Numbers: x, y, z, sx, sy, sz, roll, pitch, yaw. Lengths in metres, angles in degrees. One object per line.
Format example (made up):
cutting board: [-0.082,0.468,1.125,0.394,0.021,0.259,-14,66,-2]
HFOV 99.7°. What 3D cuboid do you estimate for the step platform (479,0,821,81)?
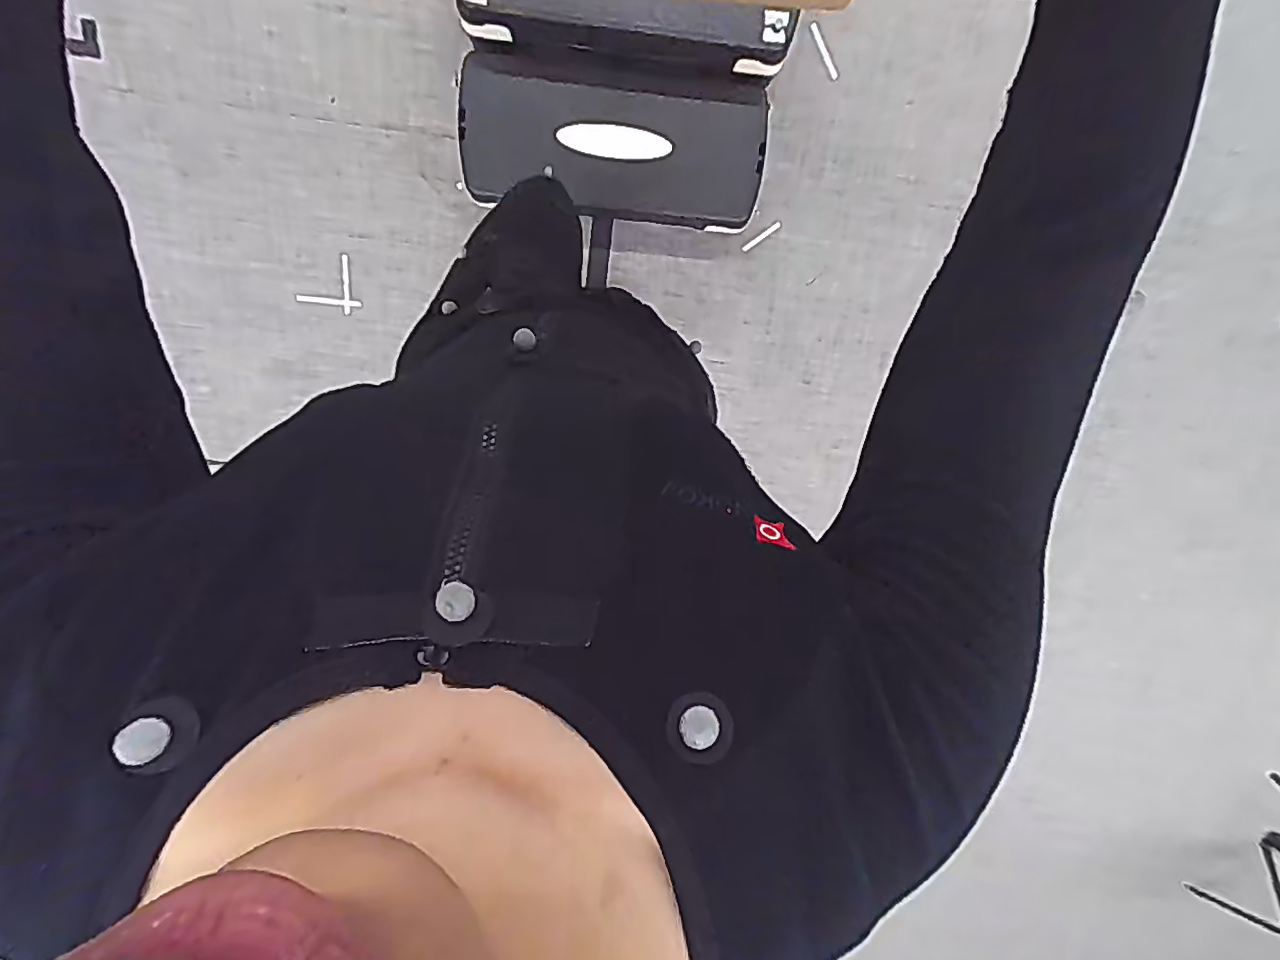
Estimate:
step platform: [0.021,-1.018,1.068,0.684,0.204,0.286,3,109,-5]
